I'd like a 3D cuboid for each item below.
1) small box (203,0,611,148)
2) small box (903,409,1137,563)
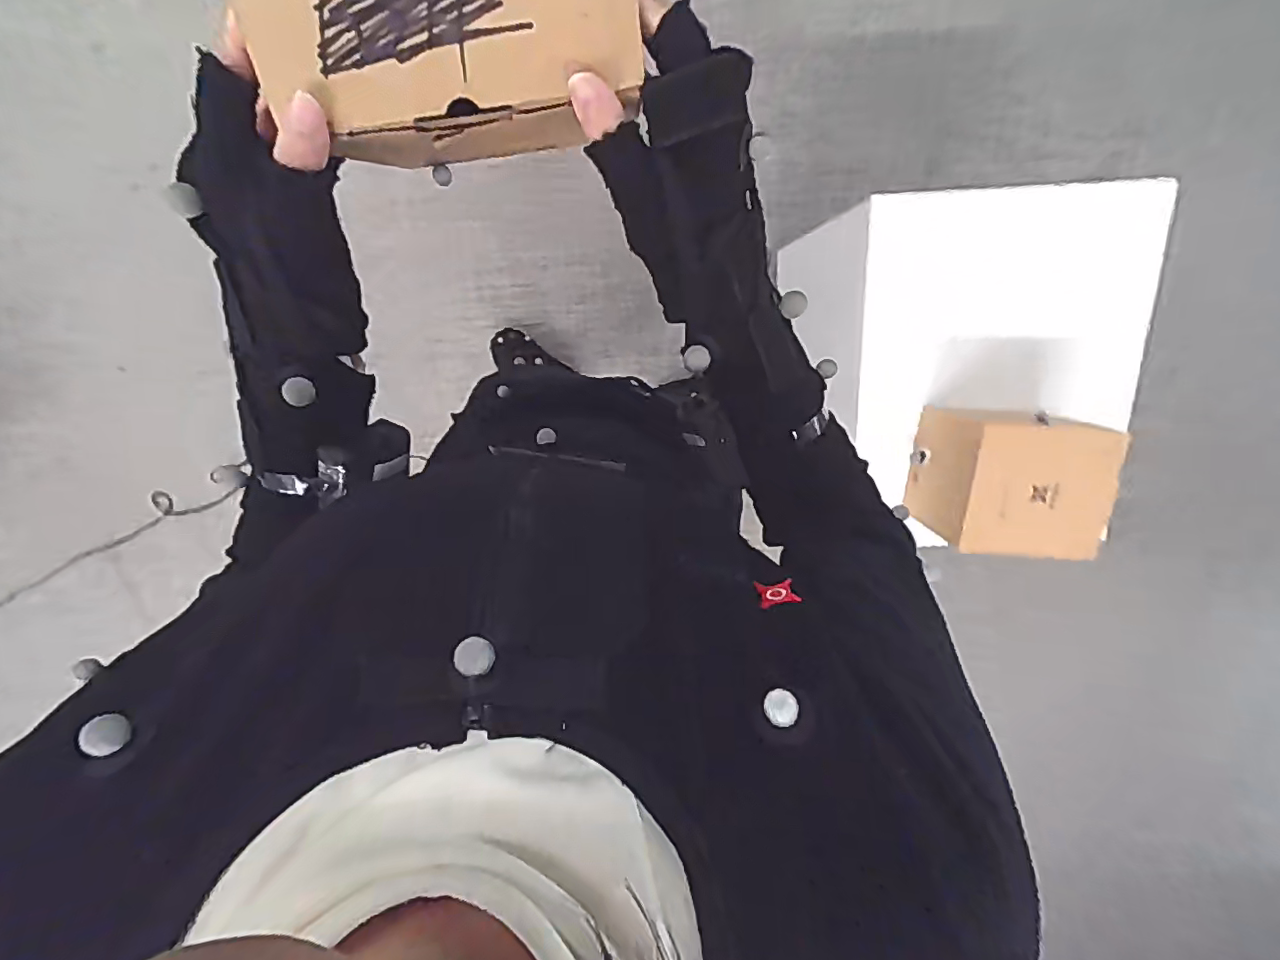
[{"bbox_3d":[-0.107,-0.283,0.275,0.168,0.176,0.179,-8,115,1],"label":"small box"},{"bbox_3d":[0.486,-0.001,0.722,0.179,0.176,0.168,4,104,2],"label":"small box"}]
